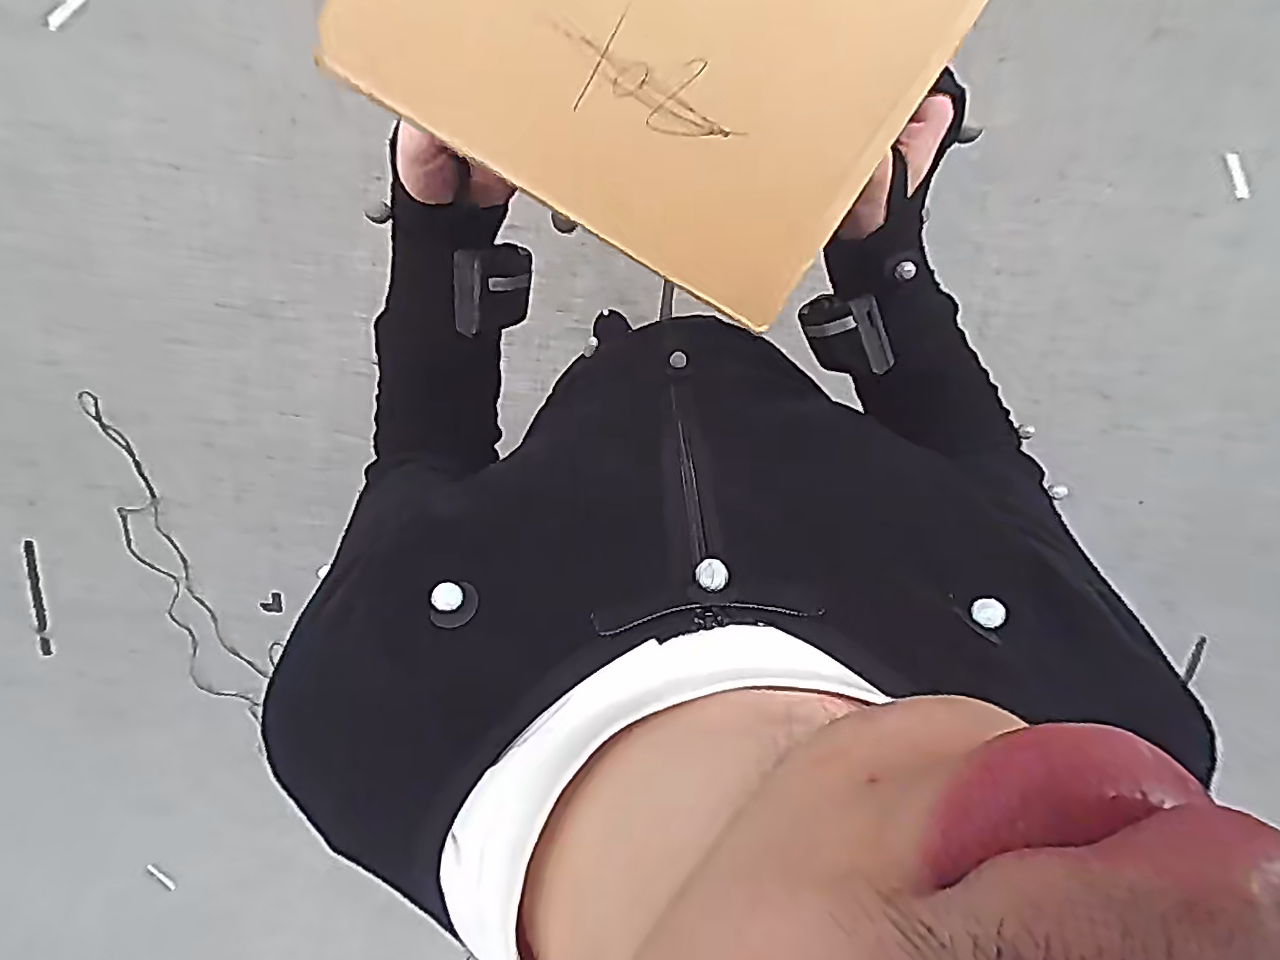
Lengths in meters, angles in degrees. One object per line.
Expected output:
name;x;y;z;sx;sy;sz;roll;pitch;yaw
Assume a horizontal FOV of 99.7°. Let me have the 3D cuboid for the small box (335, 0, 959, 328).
small box;0.014;-0.195;0.229;0.168;0.176;0.179;27;114;-10
